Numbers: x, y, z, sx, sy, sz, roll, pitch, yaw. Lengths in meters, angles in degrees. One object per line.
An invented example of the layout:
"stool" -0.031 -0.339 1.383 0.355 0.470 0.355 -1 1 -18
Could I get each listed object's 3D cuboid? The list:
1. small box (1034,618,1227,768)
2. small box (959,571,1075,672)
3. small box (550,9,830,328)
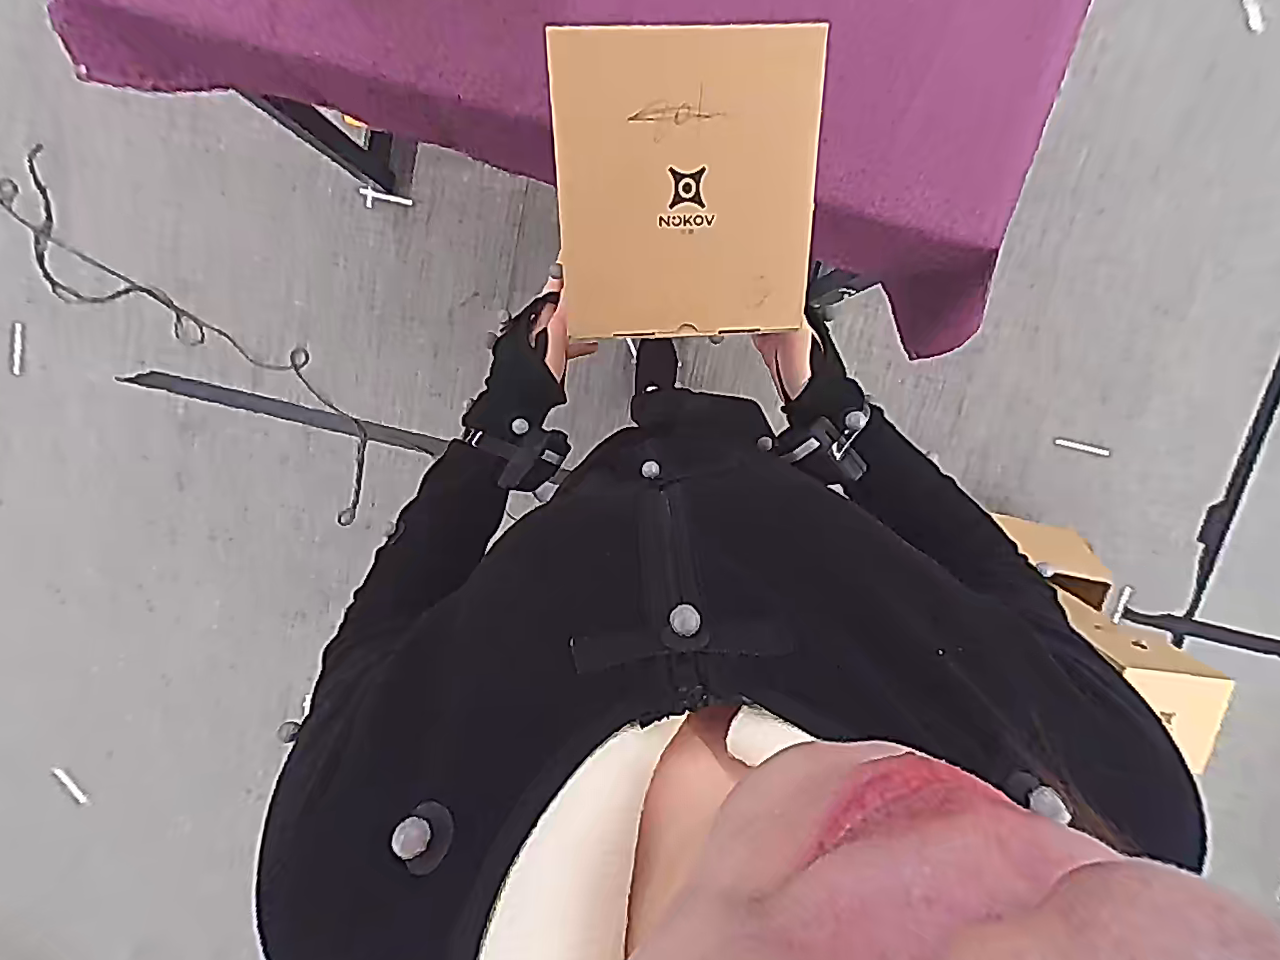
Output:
"small box" 0.840 0.362 0.948 0.168 0.176 0.179 7 103 4
"small box" 0.878 0.324 1.275 0.168 0.176 0.179 -7 103 5
"small box" 0.025 -0.216 0.414 0.168 0.176 0.179 -2 111 -3
